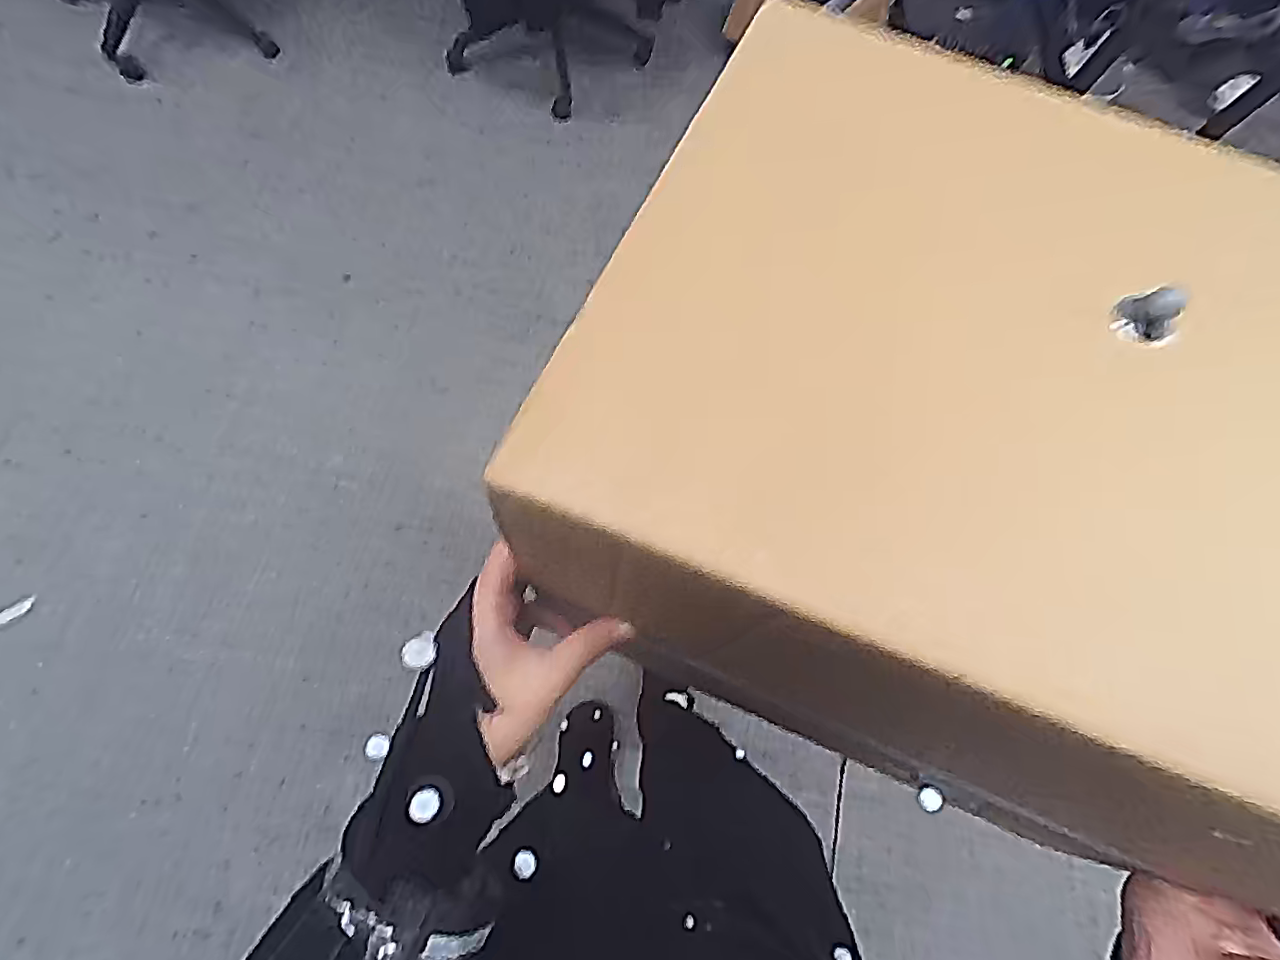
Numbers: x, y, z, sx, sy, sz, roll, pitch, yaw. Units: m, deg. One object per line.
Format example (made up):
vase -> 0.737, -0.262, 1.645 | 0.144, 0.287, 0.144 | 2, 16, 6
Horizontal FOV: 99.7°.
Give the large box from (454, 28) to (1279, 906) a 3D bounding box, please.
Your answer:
large box -> 0.165, 0.003, 0.350 | 0.408, 0.320, 0.320 | 21, 68, 5
